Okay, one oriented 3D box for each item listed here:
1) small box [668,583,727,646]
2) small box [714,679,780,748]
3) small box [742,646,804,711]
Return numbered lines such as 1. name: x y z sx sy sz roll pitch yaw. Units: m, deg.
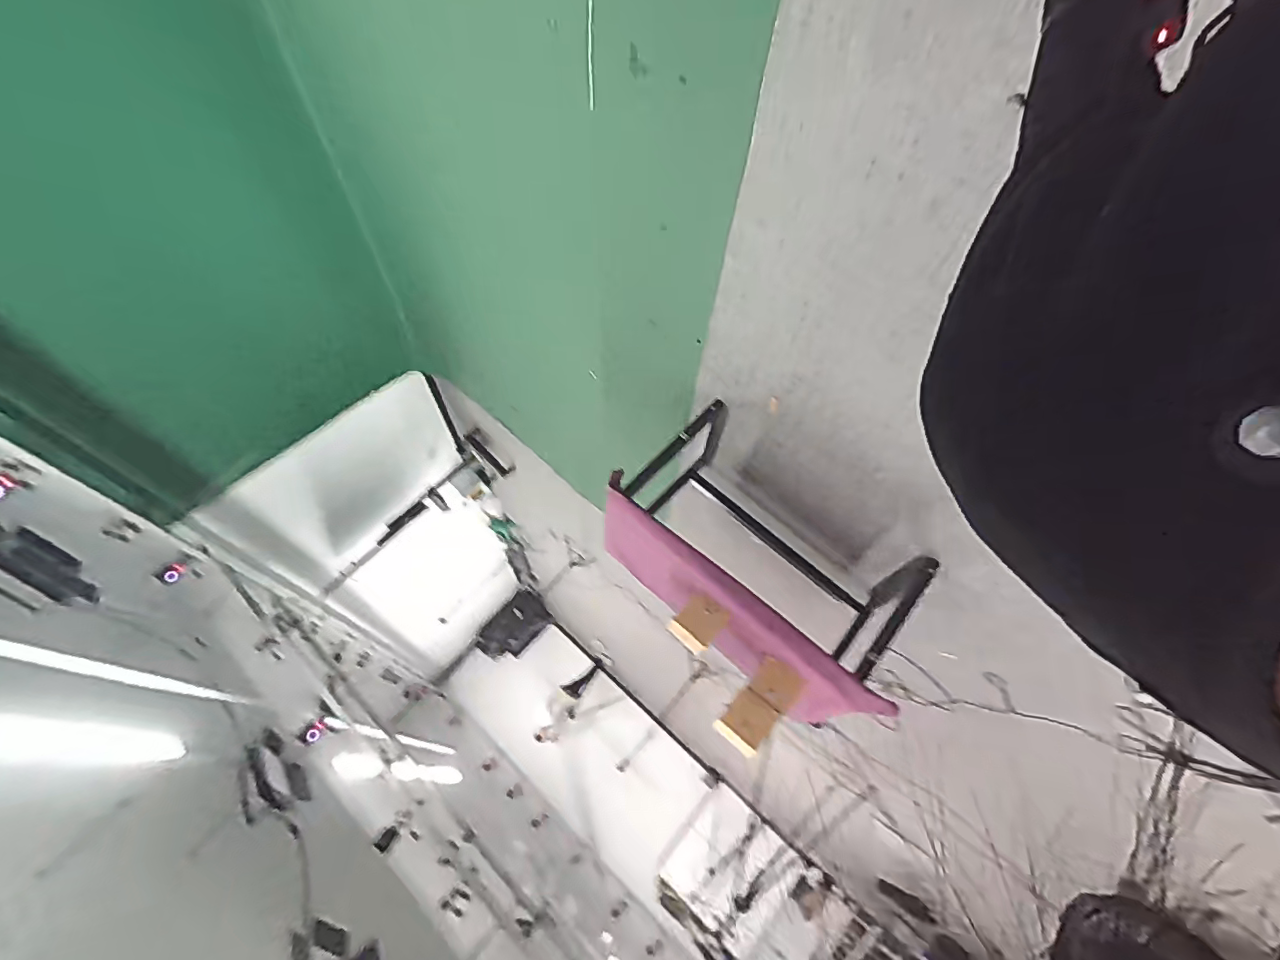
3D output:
1. small box: 0.236 0.553 2.220 0.168 0.176 0.179 39 156 14
2. small box: 0.408 0.886 2.065 0.179 0.176 0.168 36 154 21
3. small box: 0.518 0.788 2.132 0.179 0.176 0.168 38 155 20
